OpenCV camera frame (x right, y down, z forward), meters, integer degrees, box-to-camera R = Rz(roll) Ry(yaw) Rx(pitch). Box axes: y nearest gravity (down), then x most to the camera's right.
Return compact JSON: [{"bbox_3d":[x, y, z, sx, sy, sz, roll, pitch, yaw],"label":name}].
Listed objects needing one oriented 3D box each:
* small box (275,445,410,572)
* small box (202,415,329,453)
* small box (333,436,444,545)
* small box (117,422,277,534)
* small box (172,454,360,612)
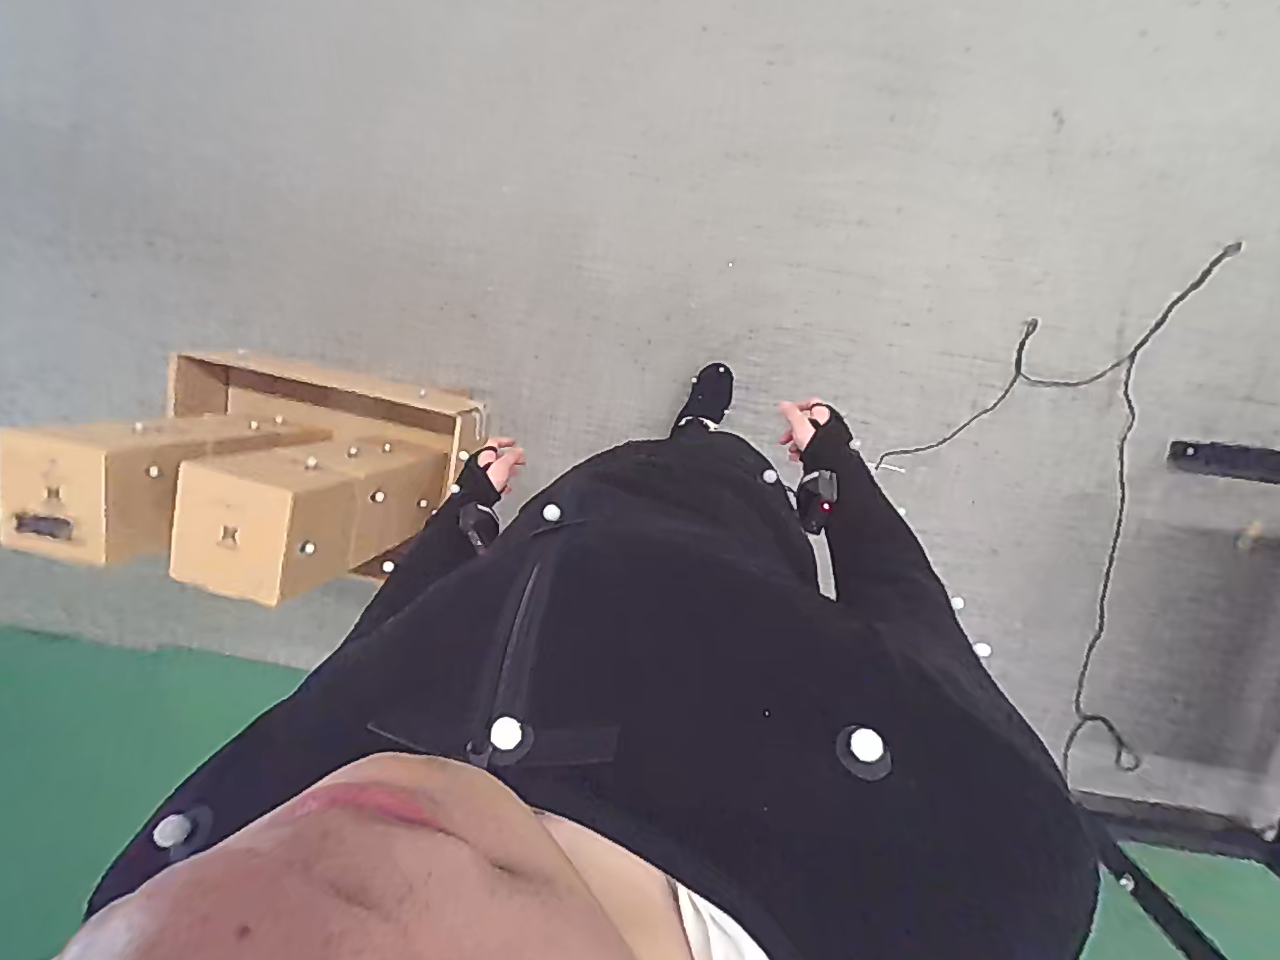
[{"bbox_3d":[-0.546,0.042,0.991,0.168,0.176,0.179,15,101,3],"label":"small box"},{"bbox_3d":[-0.803,-0.039,1.167,0.168,0.176,0.179,12,101,2],"label":"small box"},{"bbox_3d":[-0.538,0.015,1.153,0.168,0.176,0.179,14,101,2],"label":"small box"},{"bbox_3d":[-0.811,-0.008,1.006,0.168,0.176,0.179,10,102,2],"label":"small box"},{"bbox_3d":[-0.562,0.071,0.831,0.168,0.176,0.179,15,101,1],"label":"small box"}]
